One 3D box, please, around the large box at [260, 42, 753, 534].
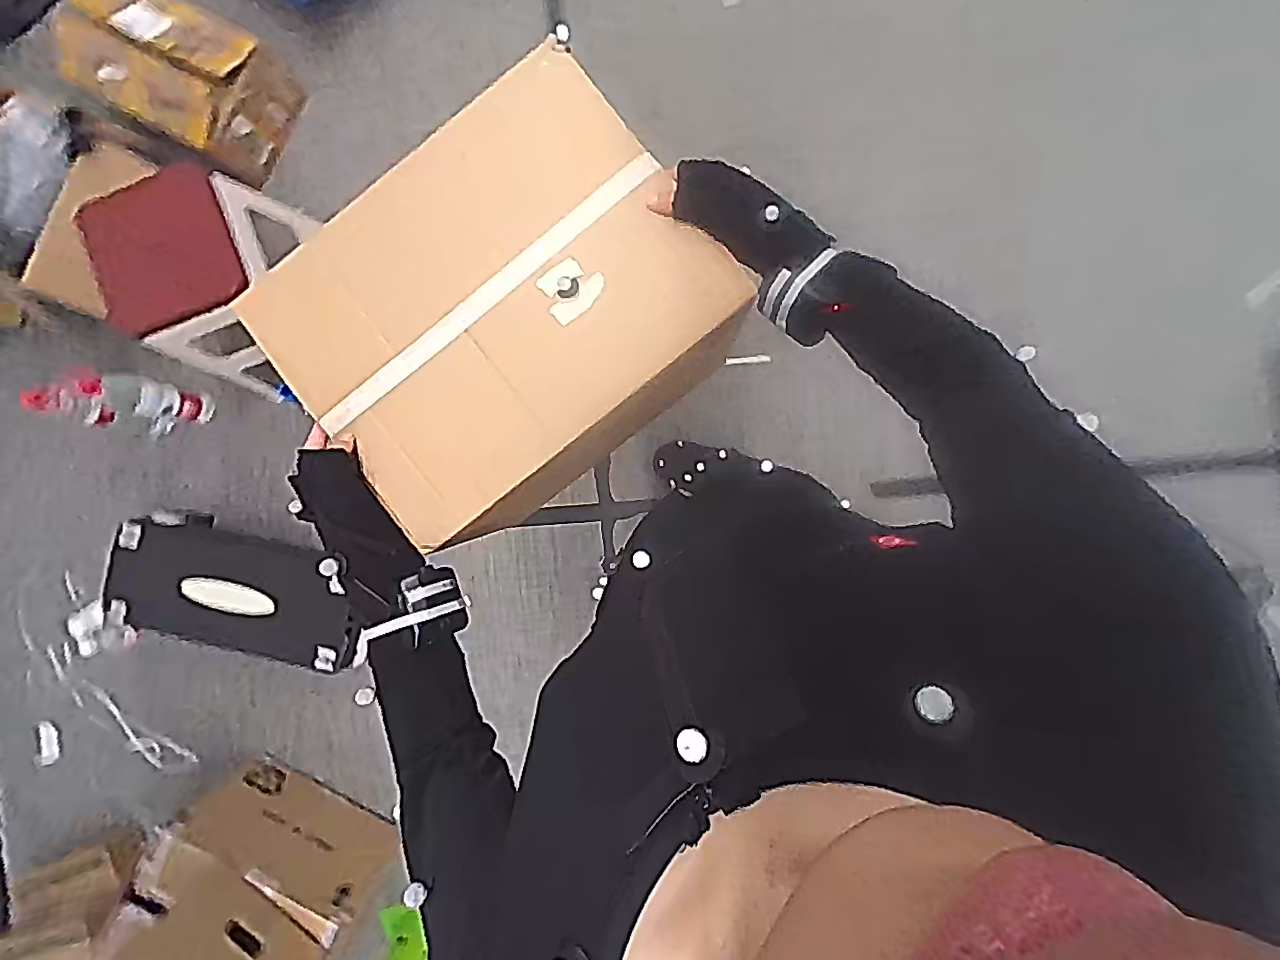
[{"bbox_3d":[-0.129,-0.182,0.671,0.408,0.320,0.320,-37,88,3],"label":"large box"}]
